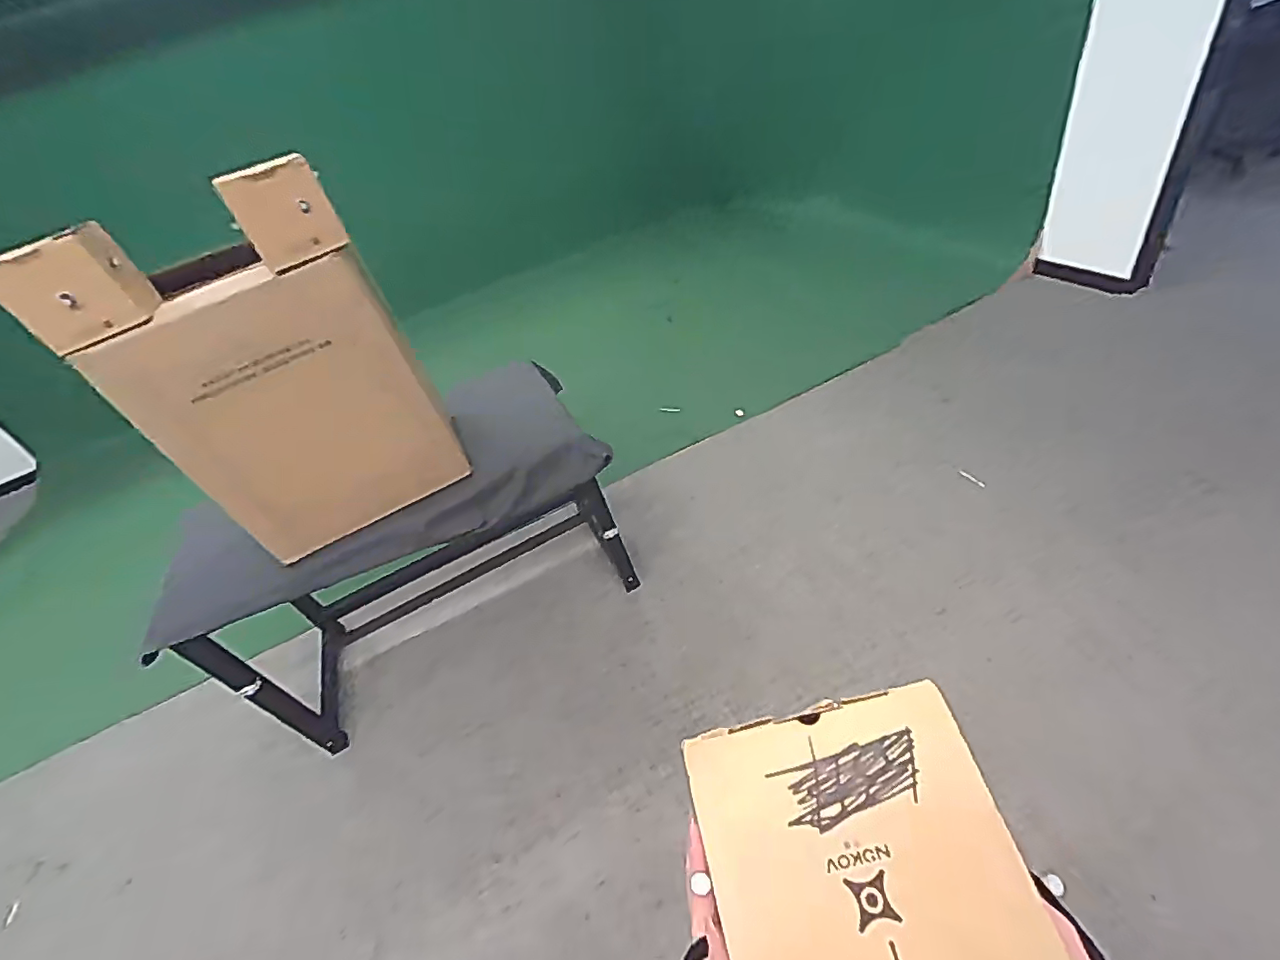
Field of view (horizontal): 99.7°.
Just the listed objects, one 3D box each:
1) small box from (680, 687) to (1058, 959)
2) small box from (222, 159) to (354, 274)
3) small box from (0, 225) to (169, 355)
[{"bbox_3d":[0.126,0.260,0.359,0.168,0.176,0.179,-14,58,-1],"label":"small box"},{"bbox_3d":[-0.719,-0.543,1.116,0.168,0.176,0.179,-31,40,-18],"label":"small box"},{"bbox_3d":[-1.068,-0.365,1.049,0.168,0.176,0.179,-31,42,-13],"label":"small box"}]
